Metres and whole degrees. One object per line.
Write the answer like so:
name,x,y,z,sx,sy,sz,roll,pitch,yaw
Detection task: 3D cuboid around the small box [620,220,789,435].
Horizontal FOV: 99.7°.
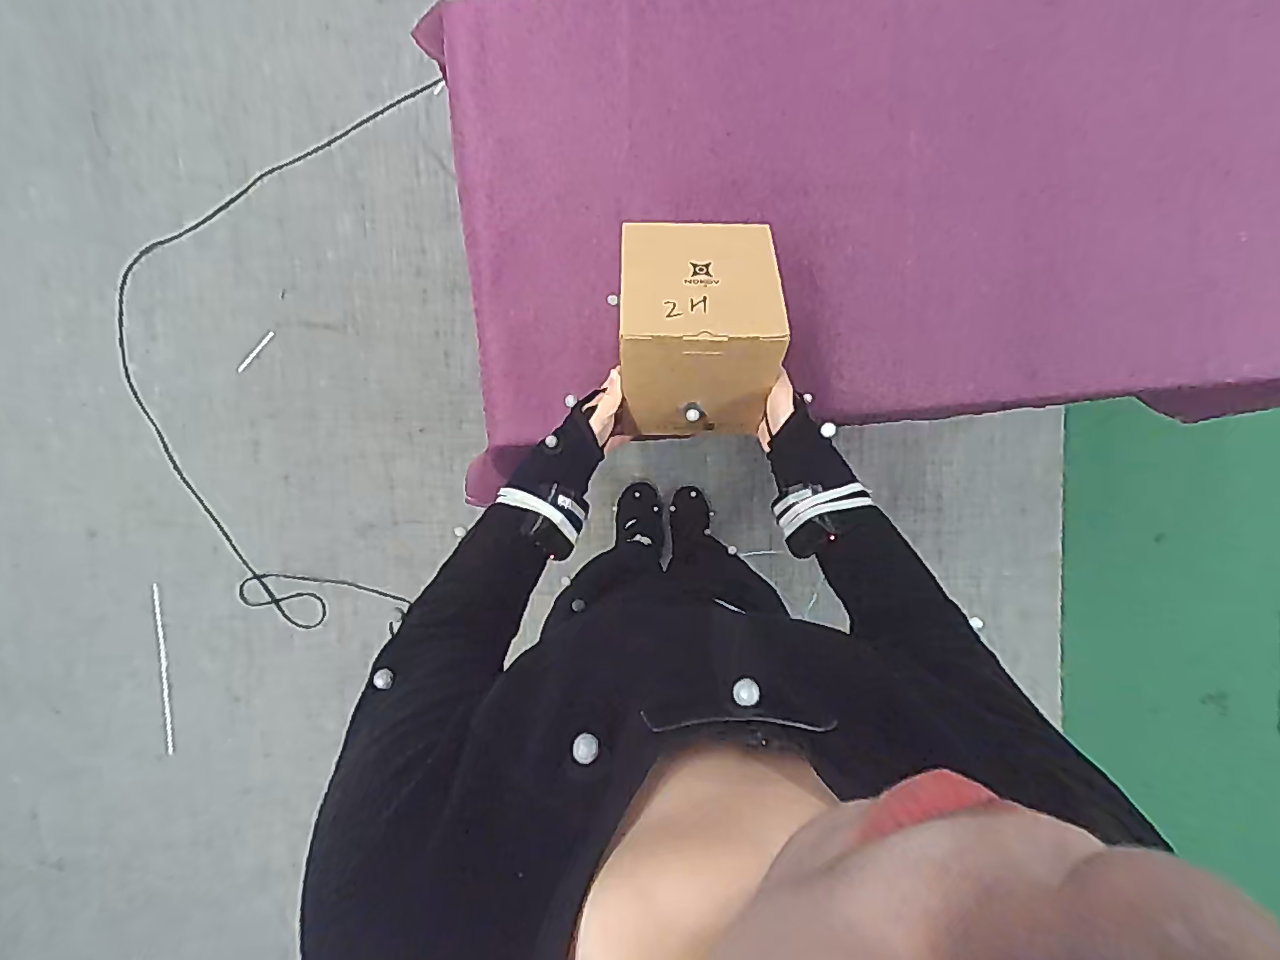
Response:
small box,0.062,-0.172,0.629,0.168,0.176,0.179,0,60,0
